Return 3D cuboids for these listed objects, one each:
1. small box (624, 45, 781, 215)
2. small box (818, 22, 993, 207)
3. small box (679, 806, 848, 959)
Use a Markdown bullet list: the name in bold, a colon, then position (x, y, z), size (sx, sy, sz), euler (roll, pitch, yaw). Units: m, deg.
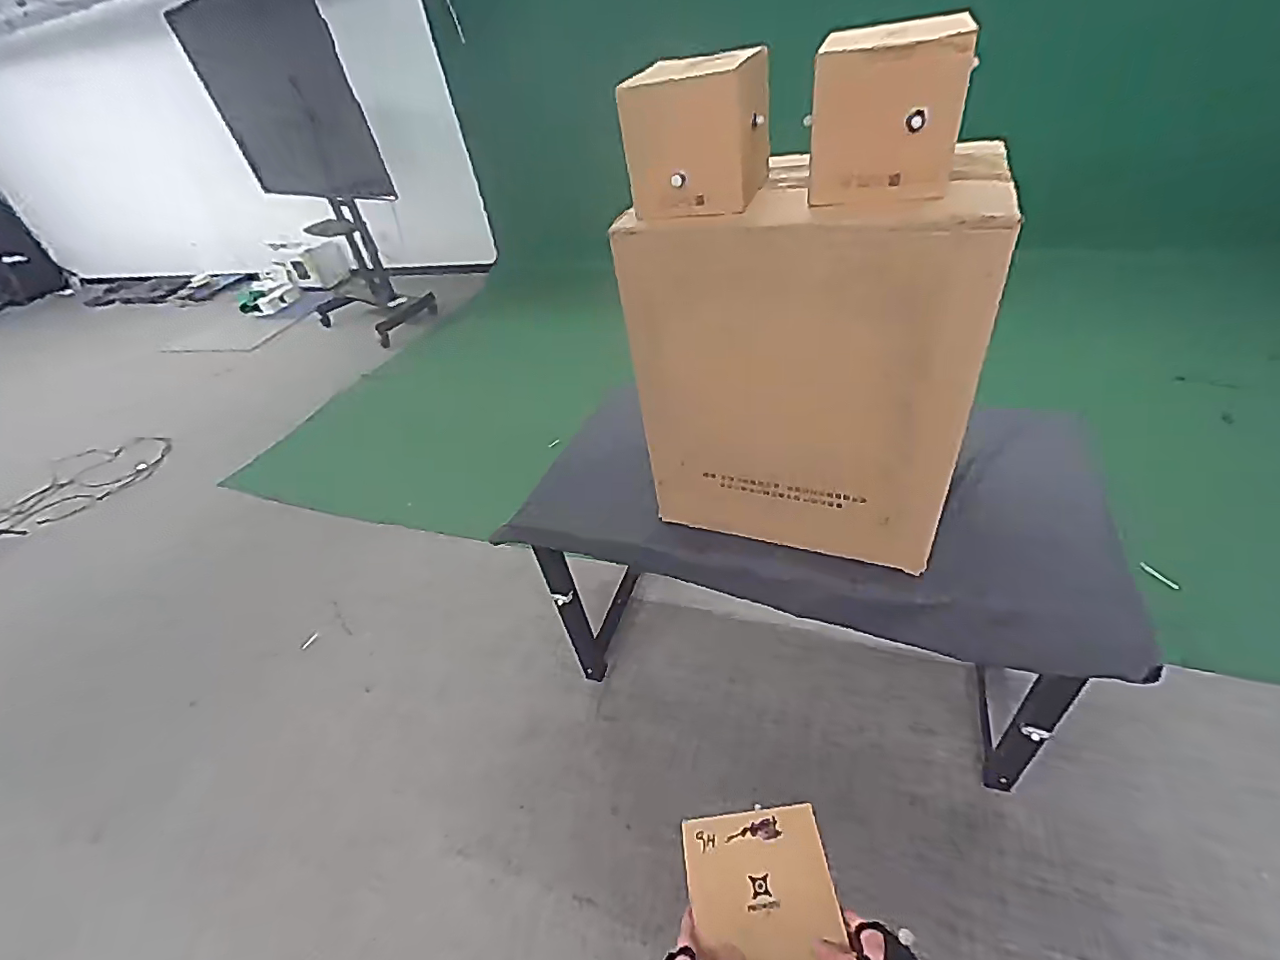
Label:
- **small box**: position (0.097, -0.497, 0.775), size (0.168, 0.176, 0.179), euler (11, 46, 24)
- **small box**: position (0.330, -0.466, 0.699), size (0.168, 0.176, 0.179), euler (9, 45, 17)
- **small box**: position (0.153, 0.545, 0.676), size (0.168, 0.176, 0.179), euler (-12, 39, 2)
